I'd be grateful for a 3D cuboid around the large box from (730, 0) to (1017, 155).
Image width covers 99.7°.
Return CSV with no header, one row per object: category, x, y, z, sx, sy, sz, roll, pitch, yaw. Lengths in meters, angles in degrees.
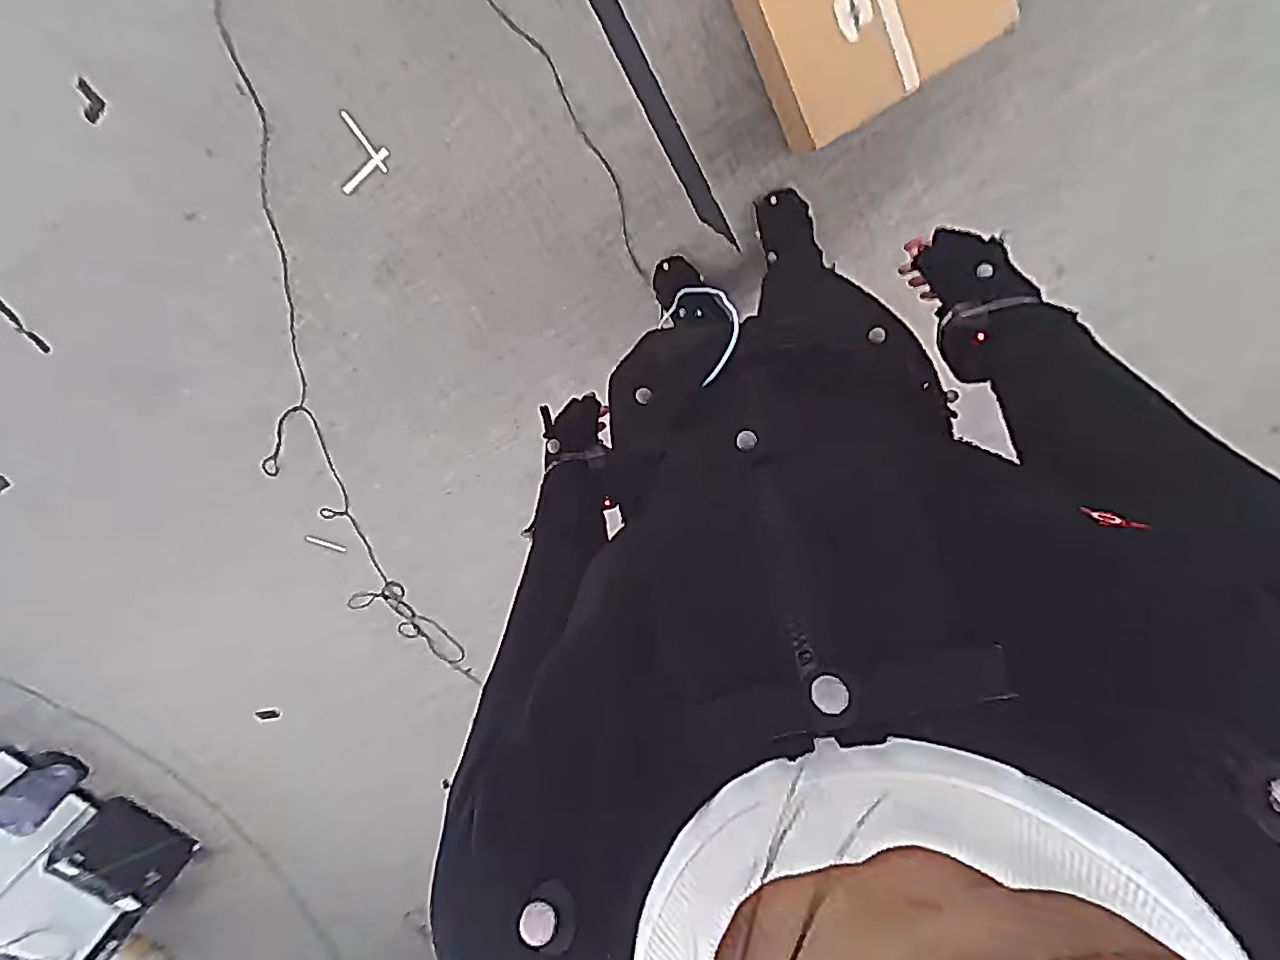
large box,0.344,-0.834,0.907,0.320,0.320,0.408,-25,114,21
